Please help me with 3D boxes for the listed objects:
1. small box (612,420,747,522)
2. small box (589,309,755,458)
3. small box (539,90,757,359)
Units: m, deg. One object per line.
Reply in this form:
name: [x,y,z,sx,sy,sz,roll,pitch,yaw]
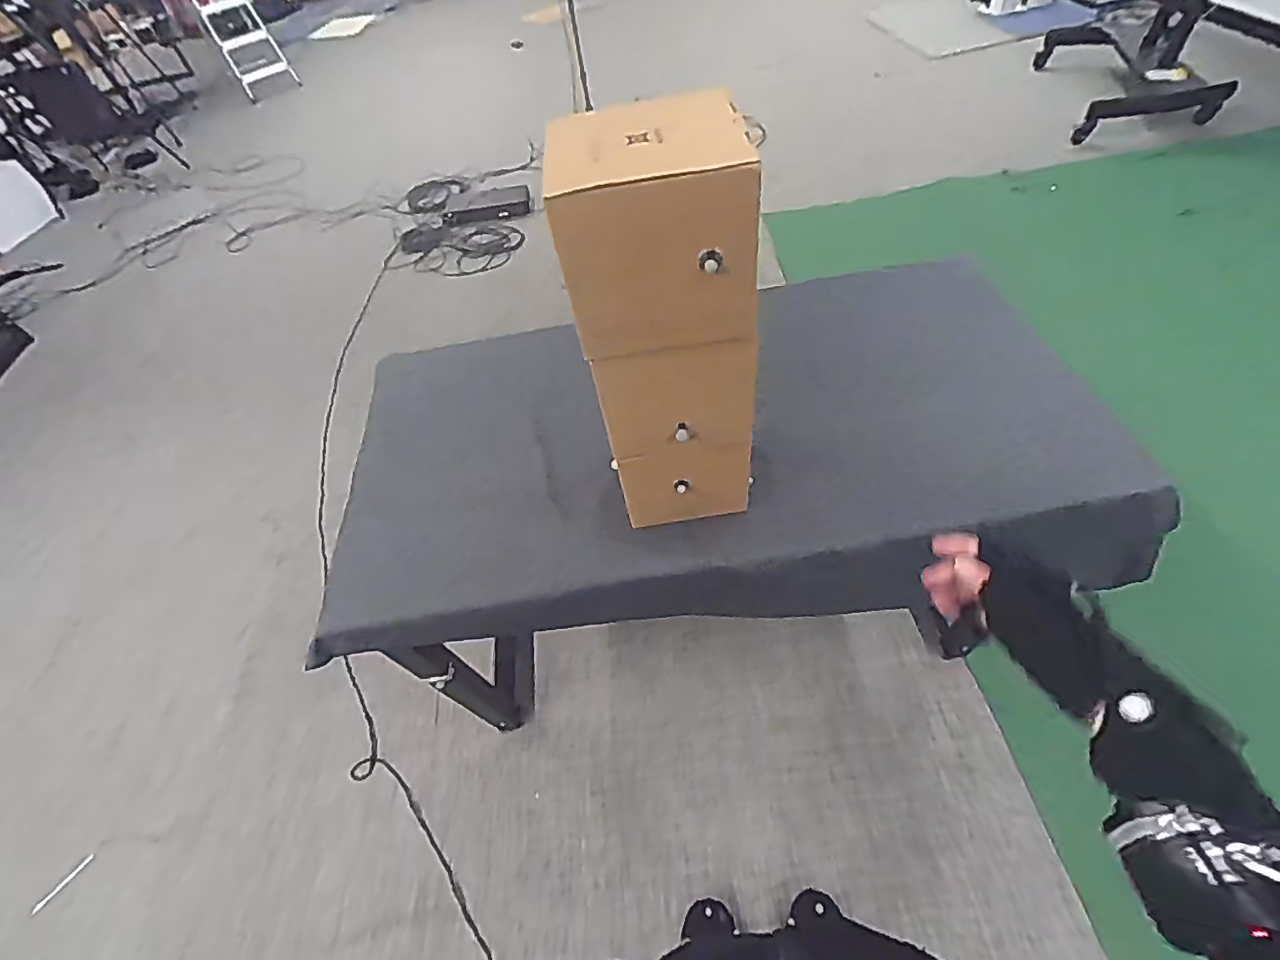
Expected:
small box: [0.052,-0.058,0.796,0.179,0.176,0.168,-10,53,3]
small box: [0.033,-0.150,0.666,0.179,0.176,0.168,-11,54,1]
small box: [0.010,-0.244,0.533,0.179,0.176,0.168,-9,52,4]
